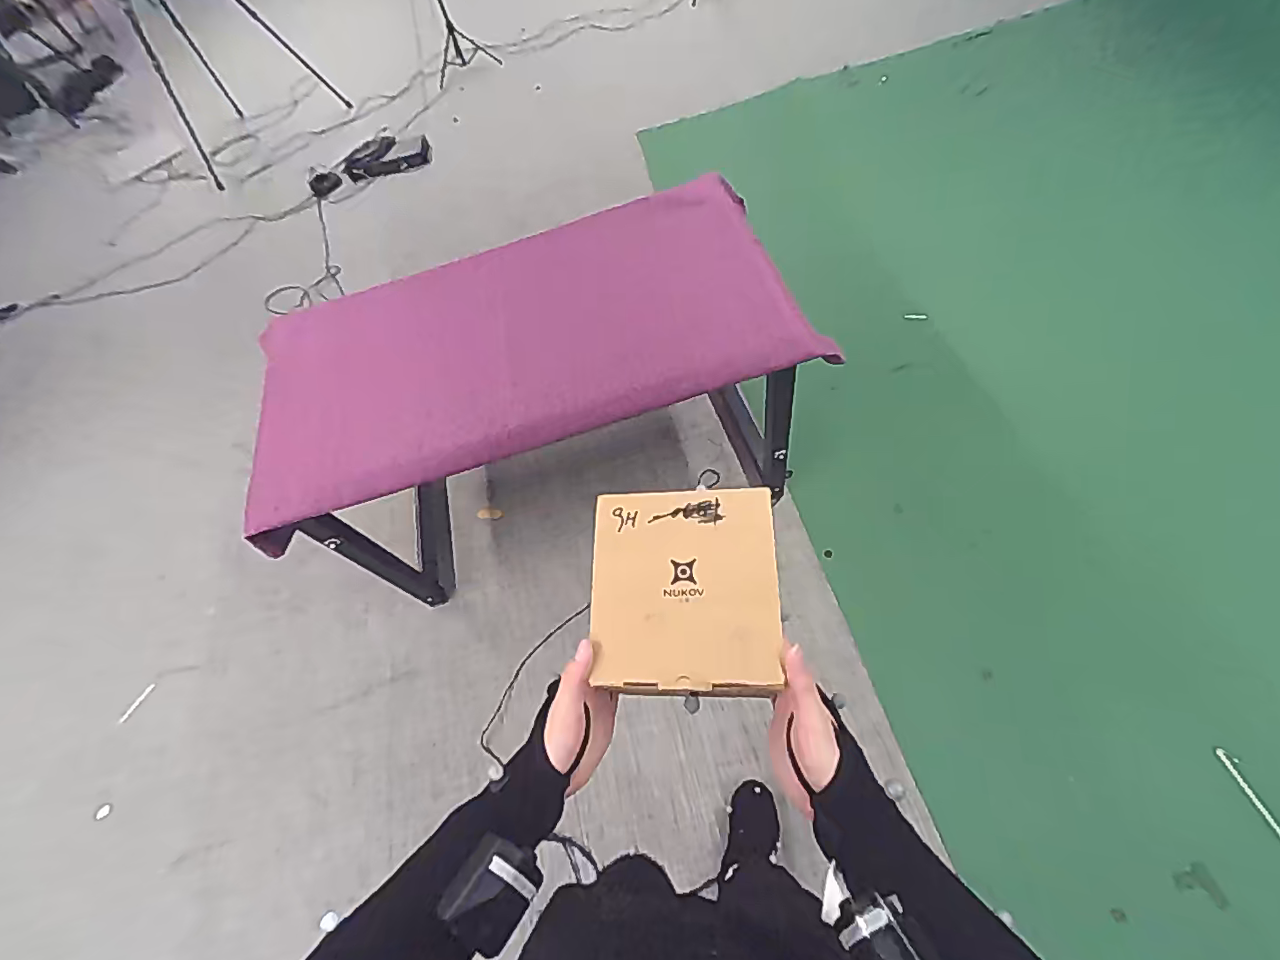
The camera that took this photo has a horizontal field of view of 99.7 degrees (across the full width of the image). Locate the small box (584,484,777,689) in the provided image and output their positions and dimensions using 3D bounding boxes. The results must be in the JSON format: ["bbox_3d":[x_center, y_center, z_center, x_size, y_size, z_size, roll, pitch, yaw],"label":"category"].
[{"bbox_3d":[0.047,0.118,0.550,0.168,0.176,0.179,-4,66,9],"label":"small box"}]
